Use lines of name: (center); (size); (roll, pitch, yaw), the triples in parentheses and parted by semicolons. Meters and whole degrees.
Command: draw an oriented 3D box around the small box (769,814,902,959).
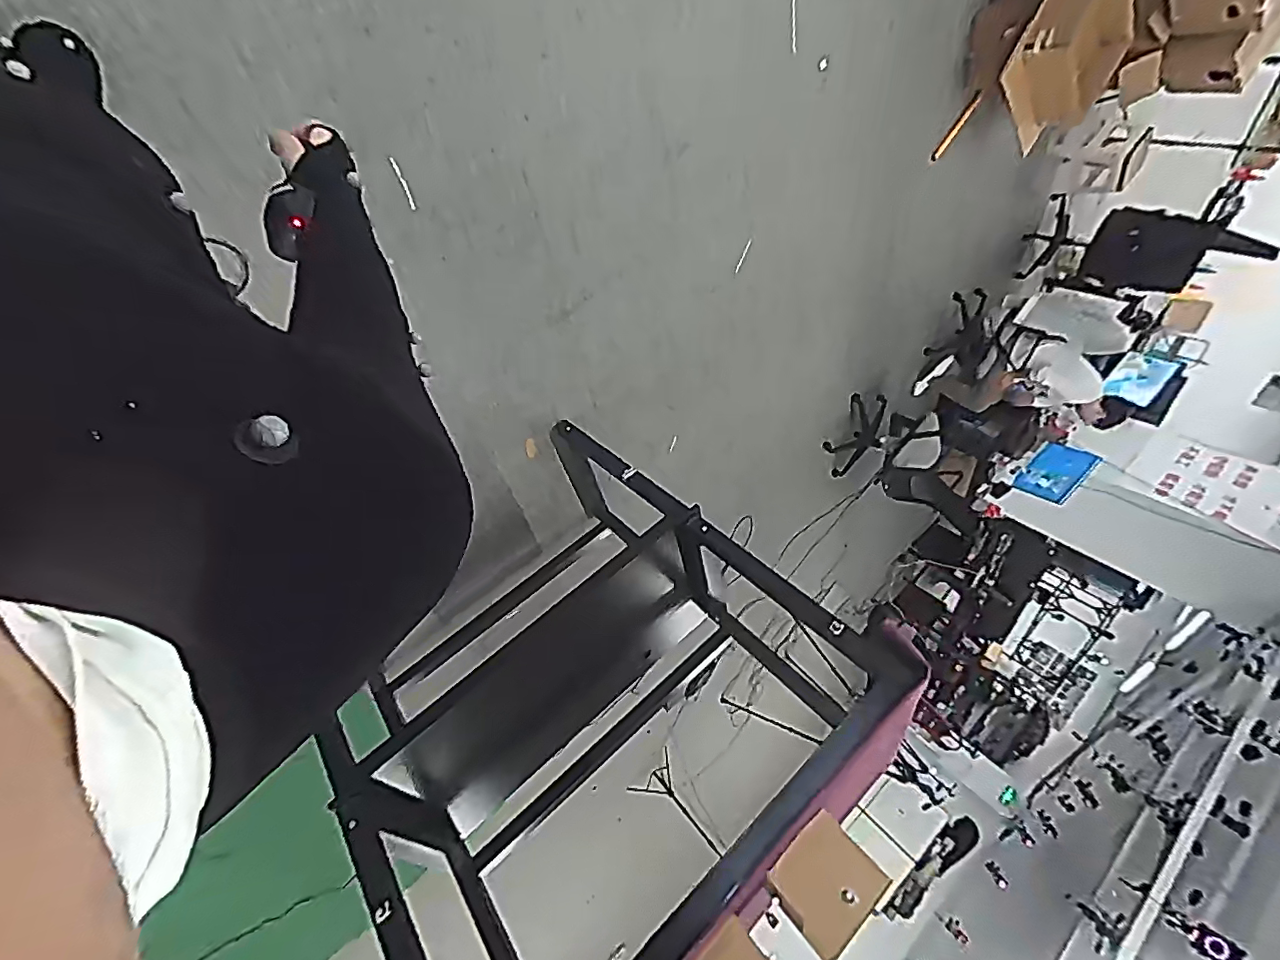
small box: (0.378, 0.807, 1.068); (0.179, 0.176, 0.168); (-35, 138, -21)
